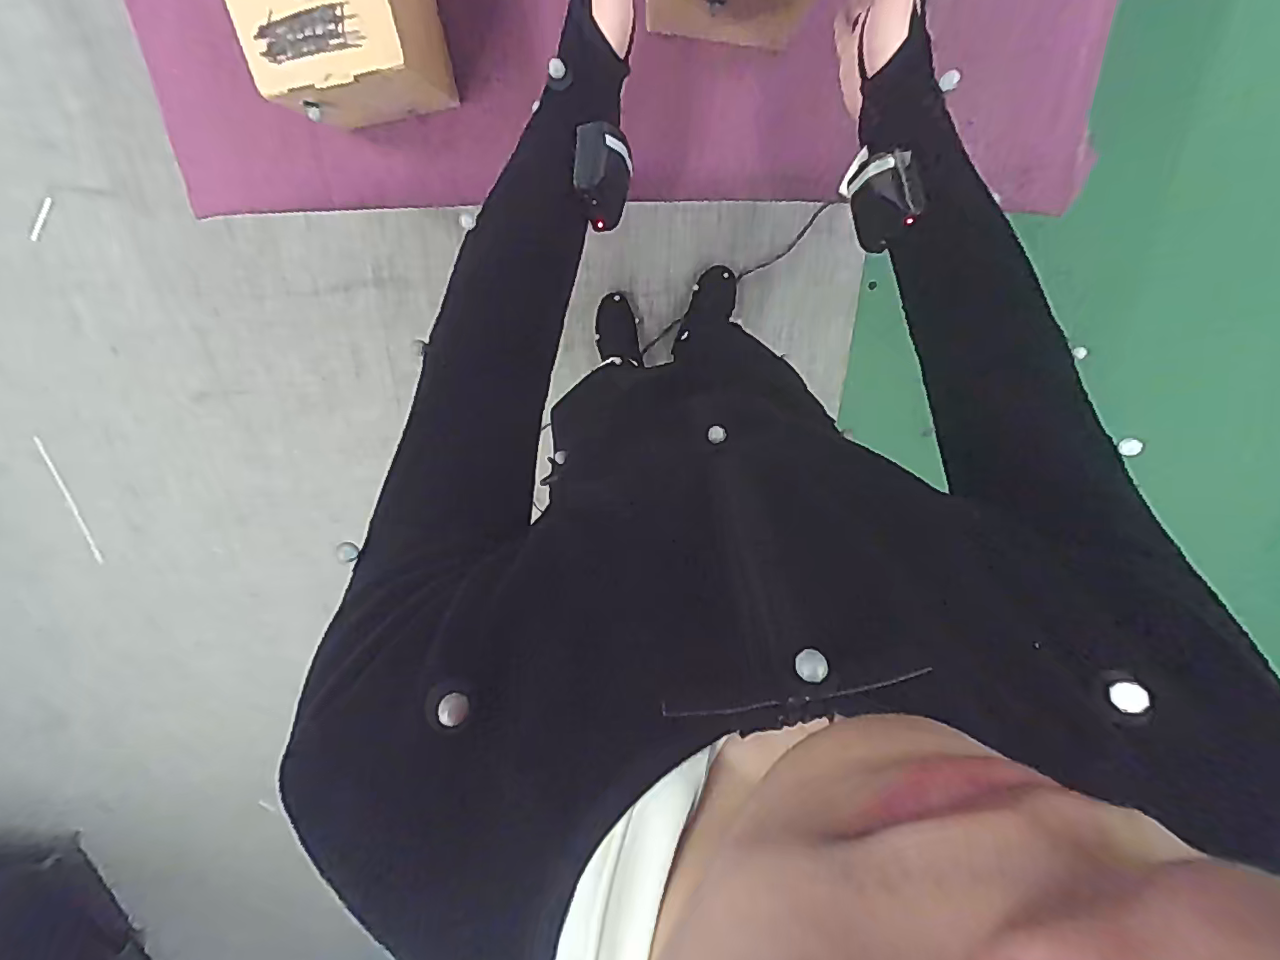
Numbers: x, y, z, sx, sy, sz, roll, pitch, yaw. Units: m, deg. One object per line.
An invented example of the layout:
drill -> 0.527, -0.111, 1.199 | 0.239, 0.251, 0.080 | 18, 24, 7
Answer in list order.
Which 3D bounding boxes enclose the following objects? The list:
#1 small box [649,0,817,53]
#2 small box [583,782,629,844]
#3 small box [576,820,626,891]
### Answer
small box -> 0.103, -0.583, 0.571 | 0.179, 0.176, 0.168 | 6, 114, -2
small box -> -0.139, 1.380, 2.237 | 0.179, 0.176, 0.168 | 3, 115, 0
small box -> -0.149, 1.446, 2.089 | 0.179, 0.176, 0.168 | 3, 114, 0
